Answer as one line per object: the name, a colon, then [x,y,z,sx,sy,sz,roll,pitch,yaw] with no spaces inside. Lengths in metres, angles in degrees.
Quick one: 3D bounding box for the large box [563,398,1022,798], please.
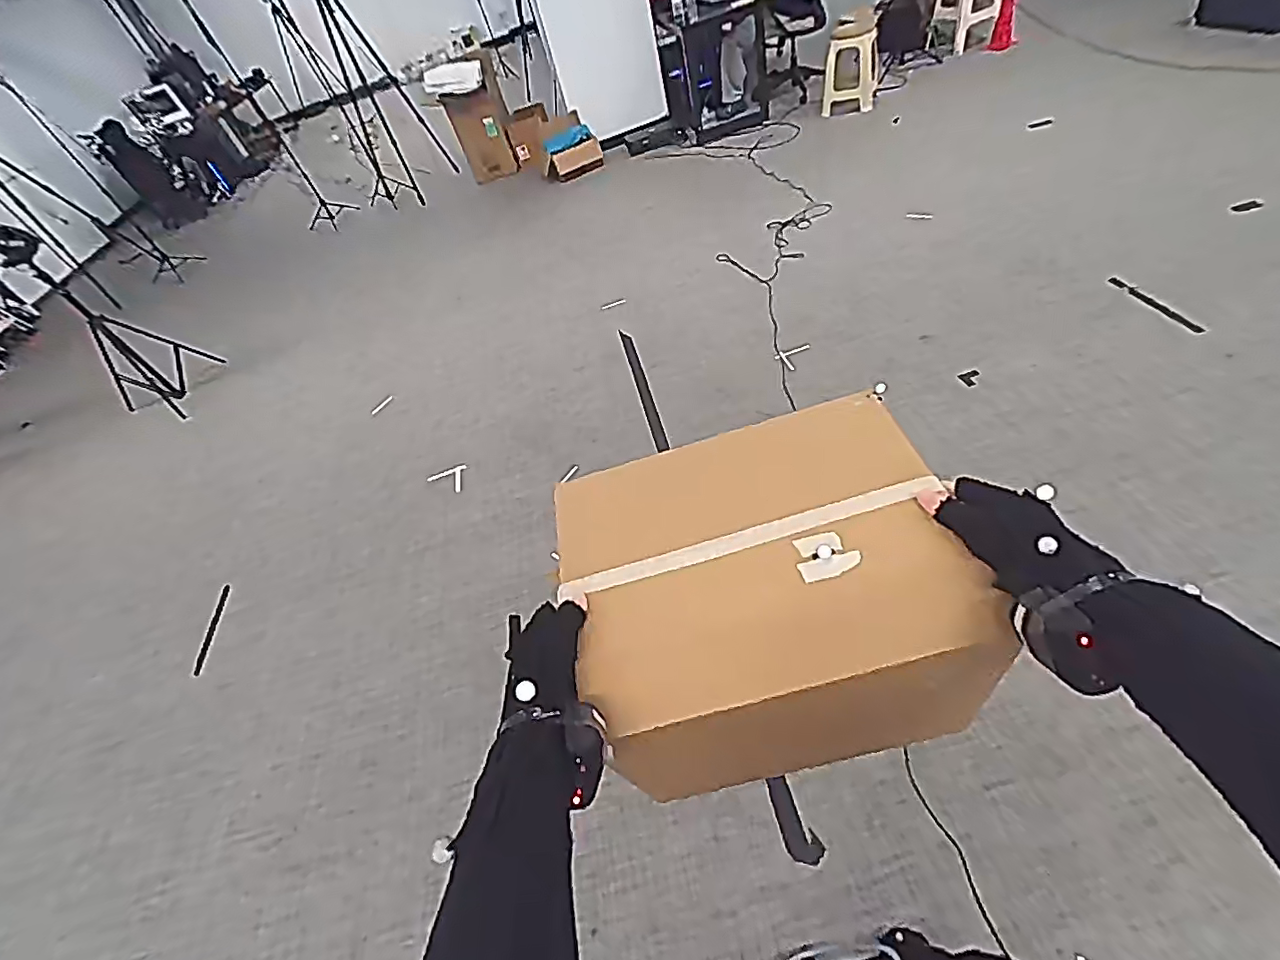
large box: [0.152,0.159,0.685,0.408,0.320,0.320,-17,49,4]
